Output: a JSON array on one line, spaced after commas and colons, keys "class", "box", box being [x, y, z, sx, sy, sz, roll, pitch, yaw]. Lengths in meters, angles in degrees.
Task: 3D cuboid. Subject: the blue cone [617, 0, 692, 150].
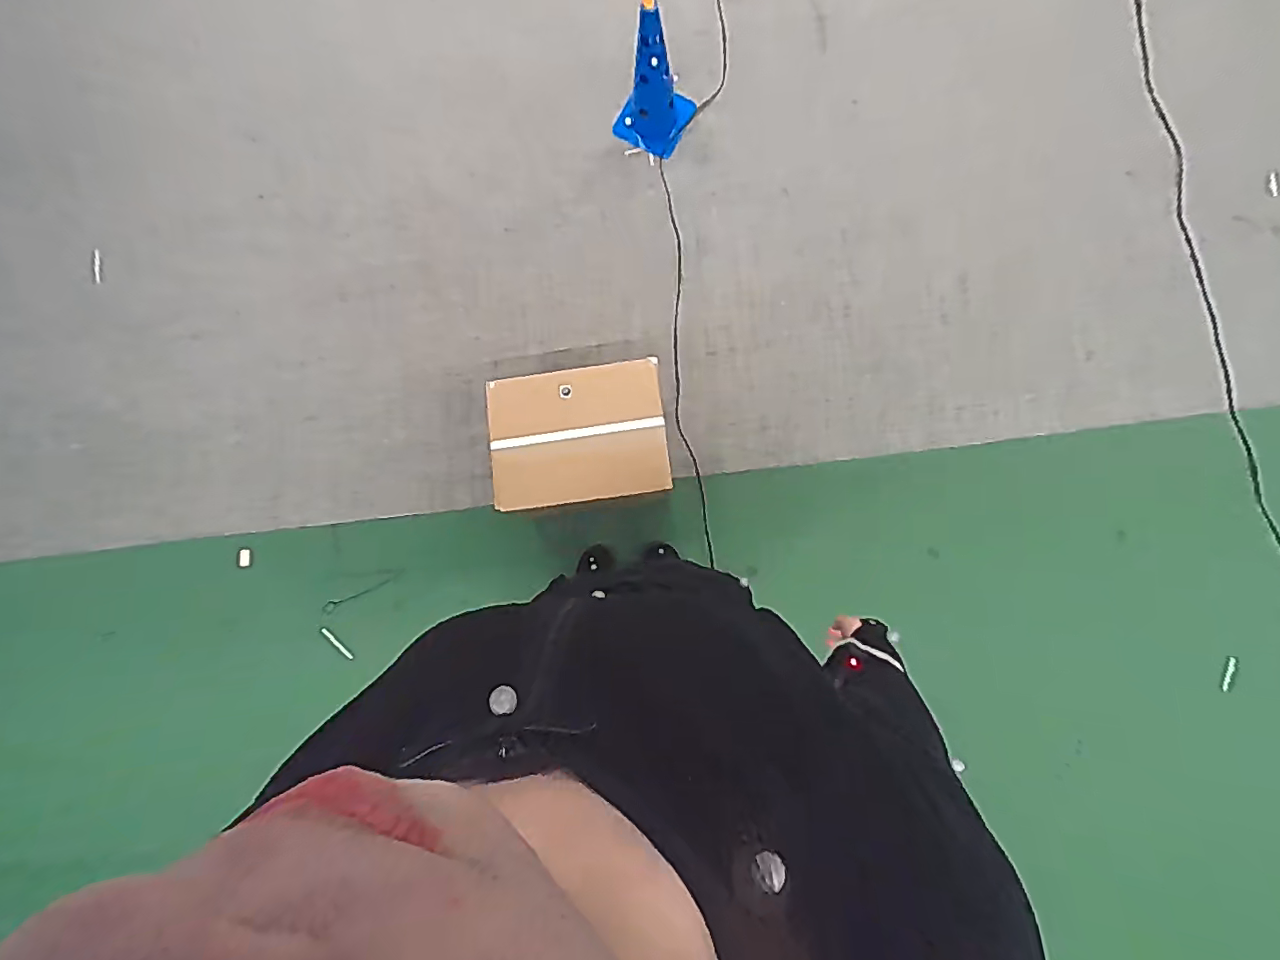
[{"class": "blue cone", "box": [0.033, -1.089, 1.430, 0.192, 0.380, 0.193, 26, 88, 5]}]
